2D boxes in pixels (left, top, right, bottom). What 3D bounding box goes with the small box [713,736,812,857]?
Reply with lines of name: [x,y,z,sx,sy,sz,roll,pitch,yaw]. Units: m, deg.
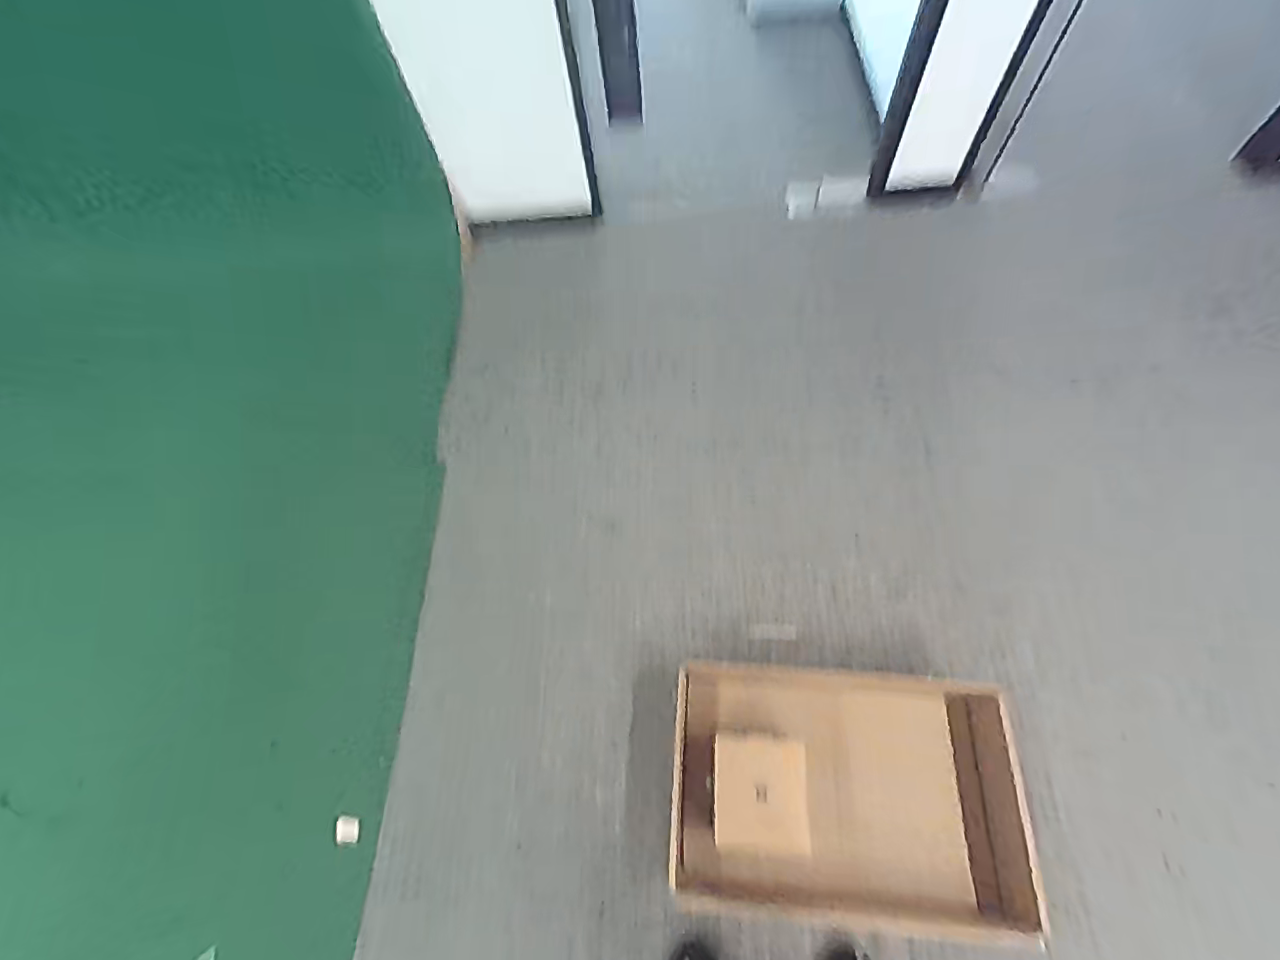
small box: [0.225,0.593,1.030,0.168,0.176,0.179,1,64,7]
